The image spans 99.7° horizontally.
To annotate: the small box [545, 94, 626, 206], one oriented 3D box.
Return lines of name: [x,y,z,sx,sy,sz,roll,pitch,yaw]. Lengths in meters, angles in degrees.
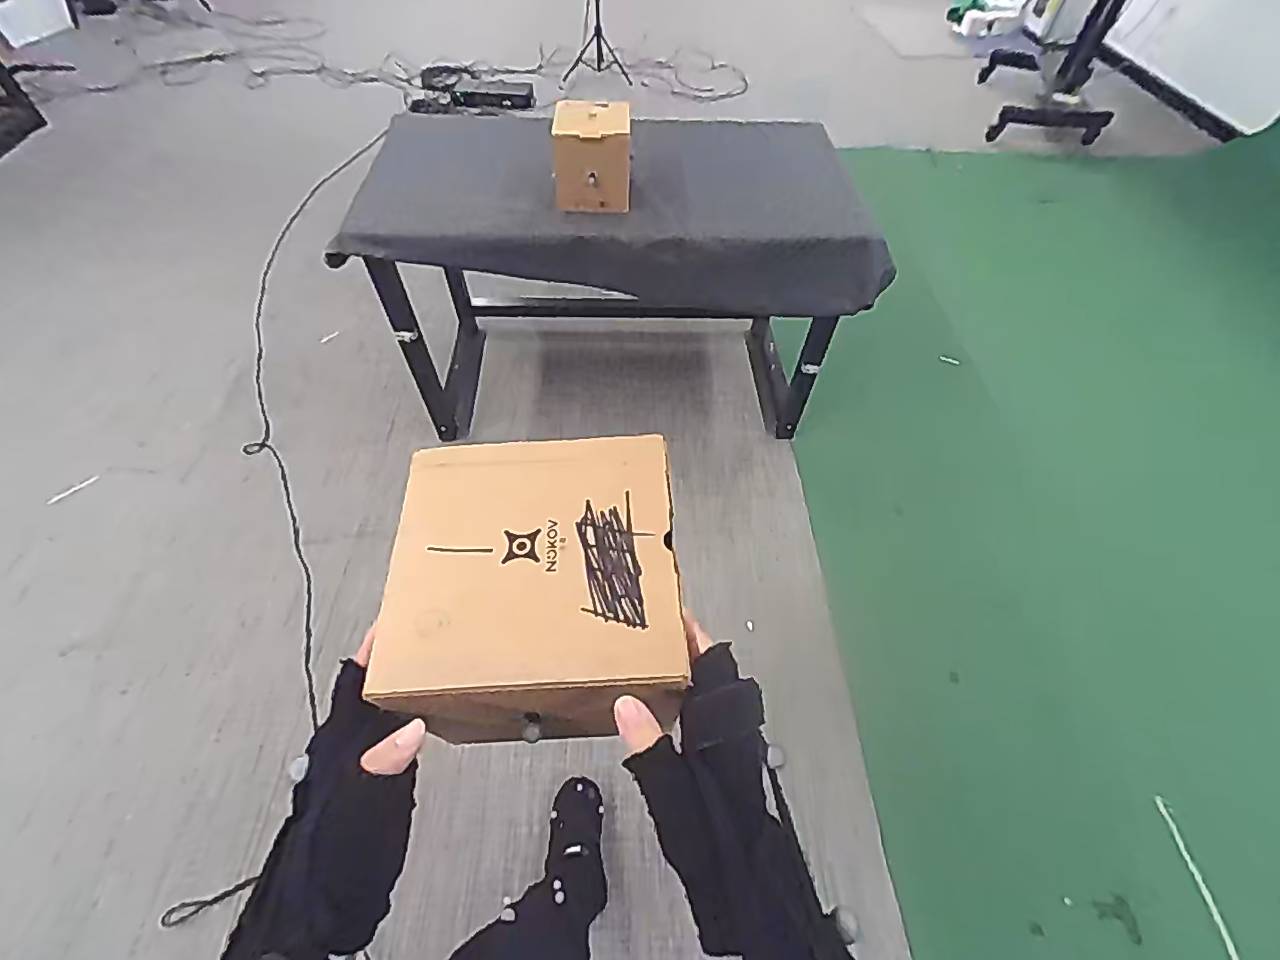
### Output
small box: [-0.116,-0.747,1.231,0.168,0.176,0.179,0,55,-1]

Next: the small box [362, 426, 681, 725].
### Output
small box: [-0.068,0.078,0.403,0.179,0.176,0.168,-4,57,-1]
